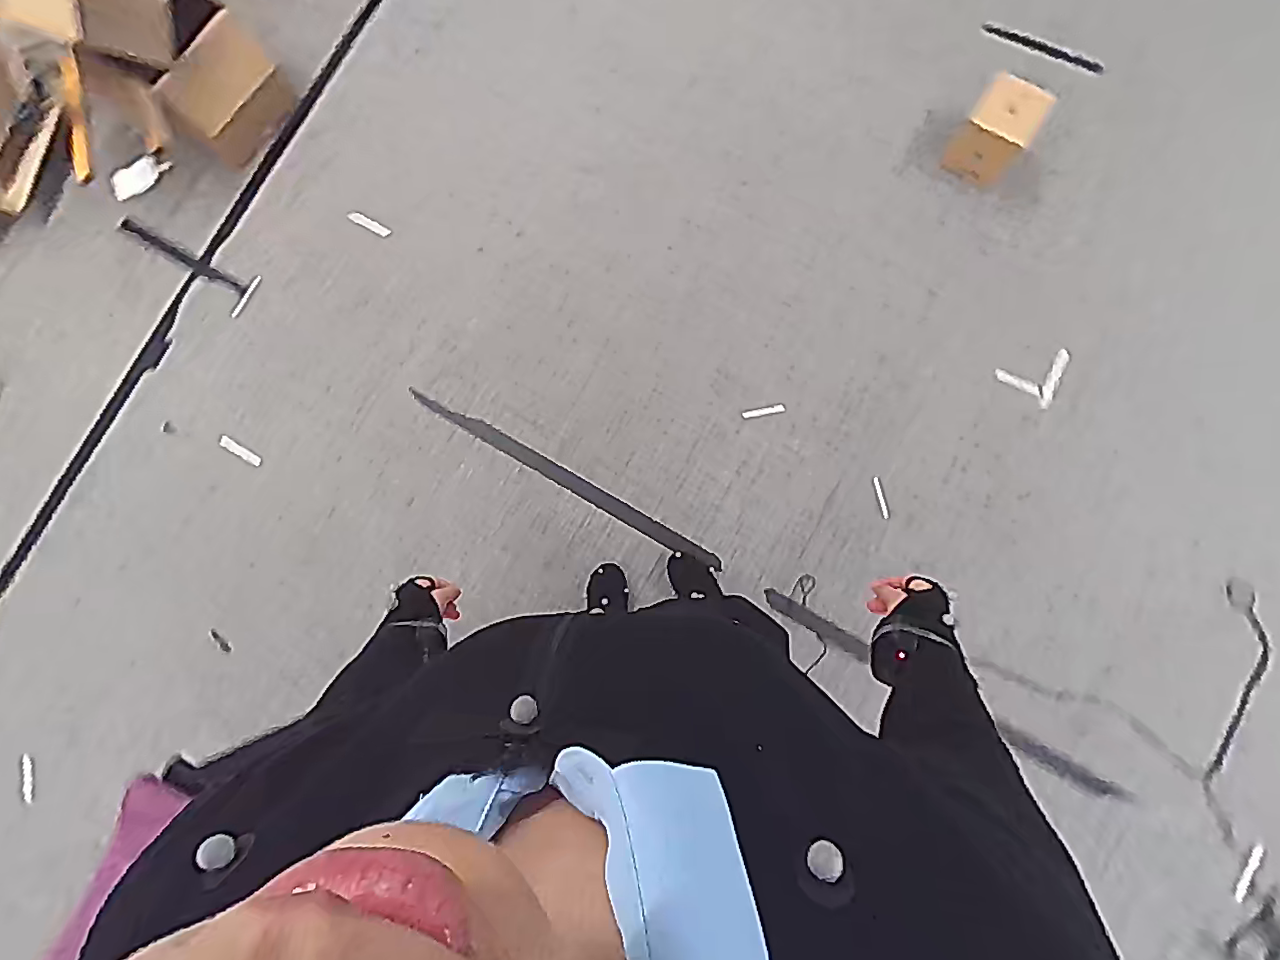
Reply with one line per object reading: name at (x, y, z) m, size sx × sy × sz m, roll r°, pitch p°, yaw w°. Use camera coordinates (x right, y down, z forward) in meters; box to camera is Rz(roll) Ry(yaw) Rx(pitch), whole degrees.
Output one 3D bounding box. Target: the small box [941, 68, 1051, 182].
small box at (0.983, -0.982, 1.513) m, size 0.168 × 0.176 × 0.179 m, roll 32°, pitch 85°, yaw 7°
